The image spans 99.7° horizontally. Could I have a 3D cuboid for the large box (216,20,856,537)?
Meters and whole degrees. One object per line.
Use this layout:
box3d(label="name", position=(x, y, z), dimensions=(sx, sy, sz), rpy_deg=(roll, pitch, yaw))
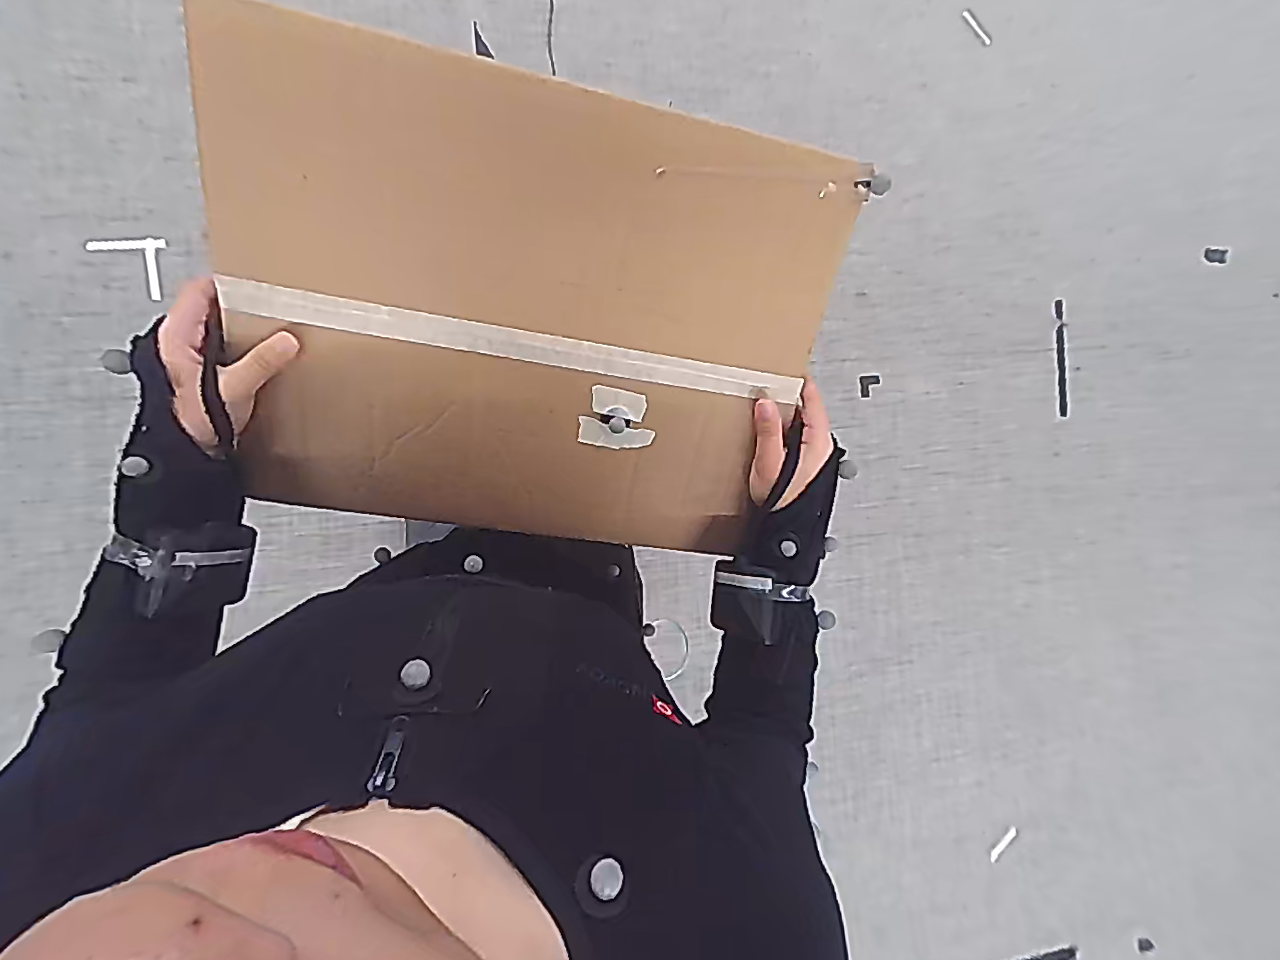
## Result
box3d(label="large box", position=(-0.089, -0.168, 0.530), dimensions=(0.408, 0.320, 0.320), rpy_deg=(7, 117, -11))
